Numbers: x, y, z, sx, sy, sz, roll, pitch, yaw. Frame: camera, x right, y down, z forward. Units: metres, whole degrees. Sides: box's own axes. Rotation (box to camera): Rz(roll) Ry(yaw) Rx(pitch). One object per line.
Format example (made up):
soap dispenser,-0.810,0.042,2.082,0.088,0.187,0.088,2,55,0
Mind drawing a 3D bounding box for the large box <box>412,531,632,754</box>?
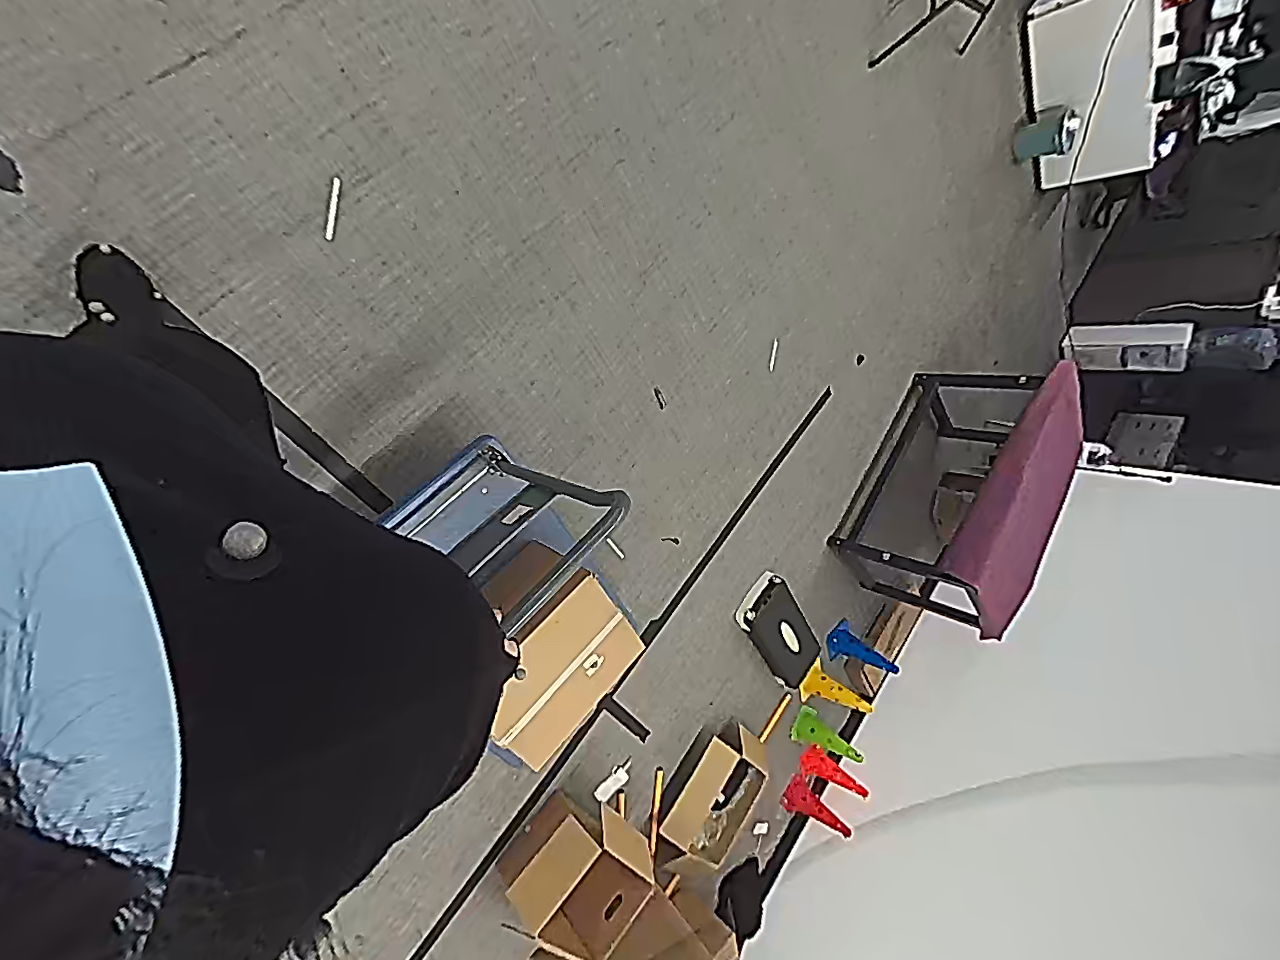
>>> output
large box,-0.305,0.403,1.421,0.408,0.320,0.320,-45,126,-23
